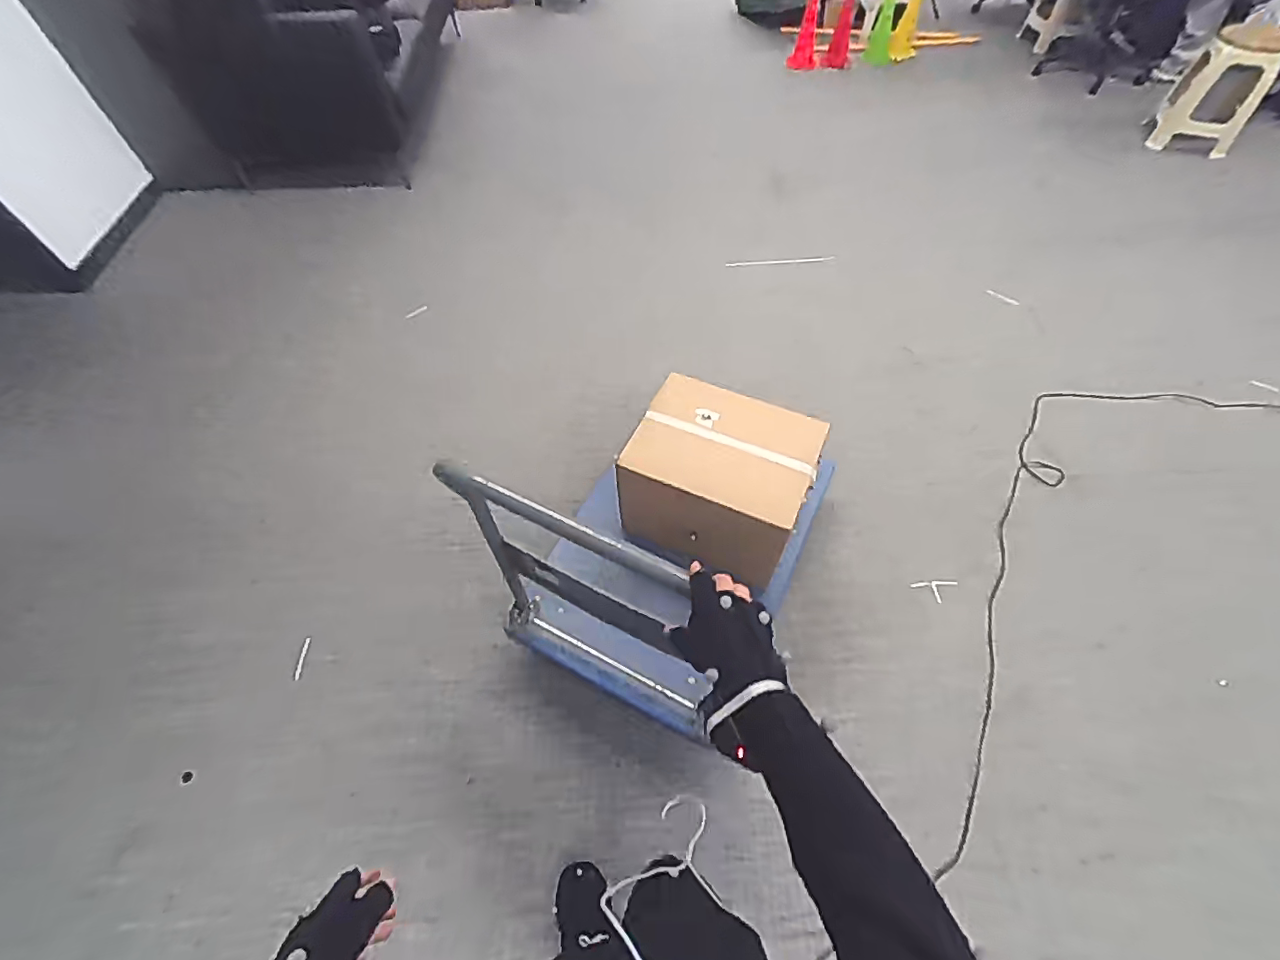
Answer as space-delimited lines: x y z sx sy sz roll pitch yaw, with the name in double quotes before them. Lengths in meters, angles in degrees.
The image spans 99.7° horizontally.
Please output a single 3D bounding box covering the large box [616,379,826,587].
"large box" 0.197 0.010 1.345 0.408 0.320 0.320 21 58 17
